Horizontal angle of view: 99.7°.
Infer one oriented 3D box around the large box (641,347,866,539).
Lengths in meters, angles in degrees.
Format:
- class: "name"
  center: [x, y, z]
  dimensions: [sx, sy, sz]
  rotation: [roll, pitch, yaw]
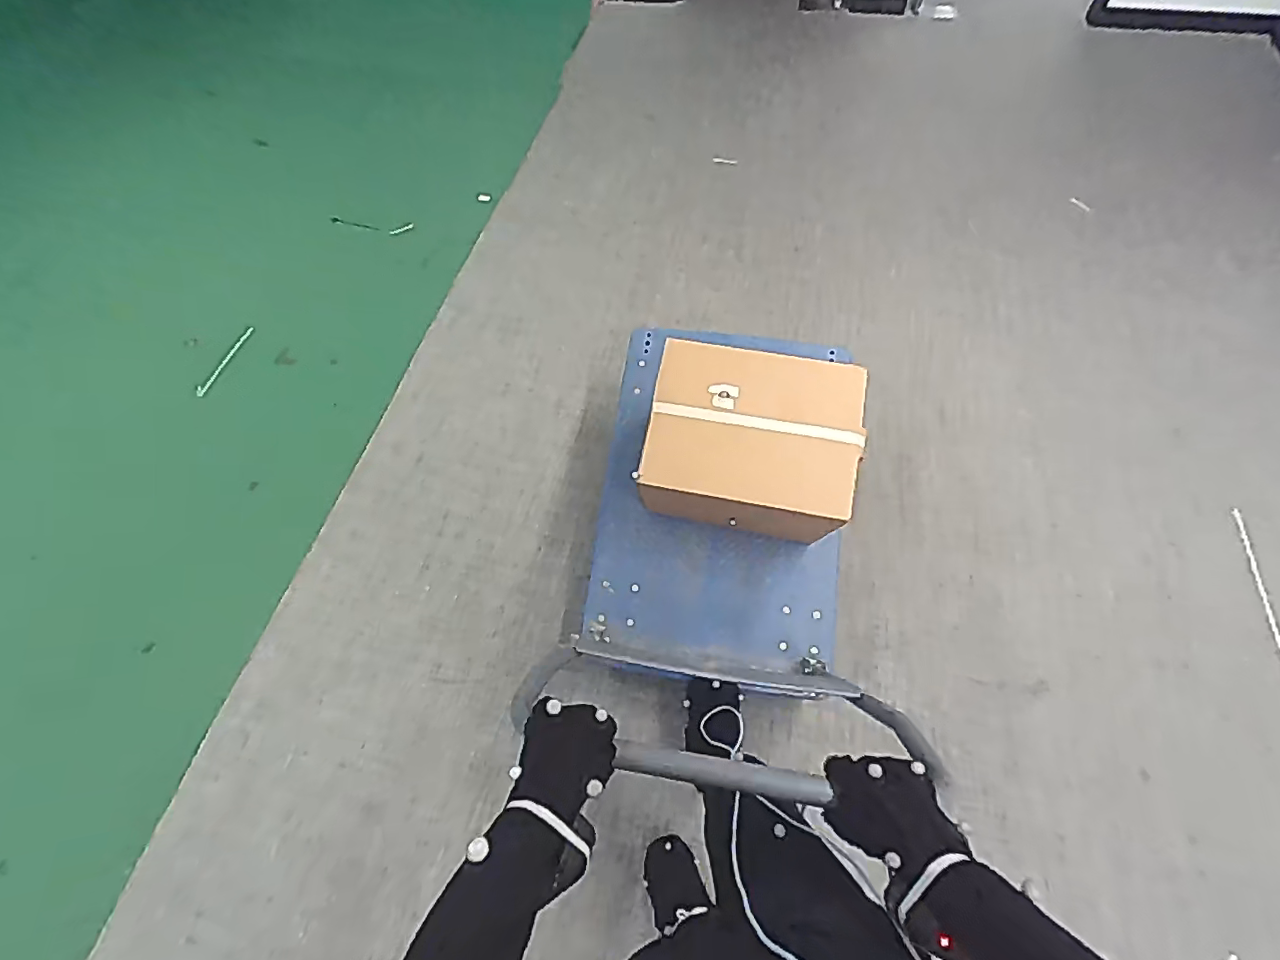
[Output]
- class: "large box"
  center: [0.239, -0.065, 1.188]
  dimensions: [0.408, 0.320, 0.320]
  rotation: [9, 77, 9]
